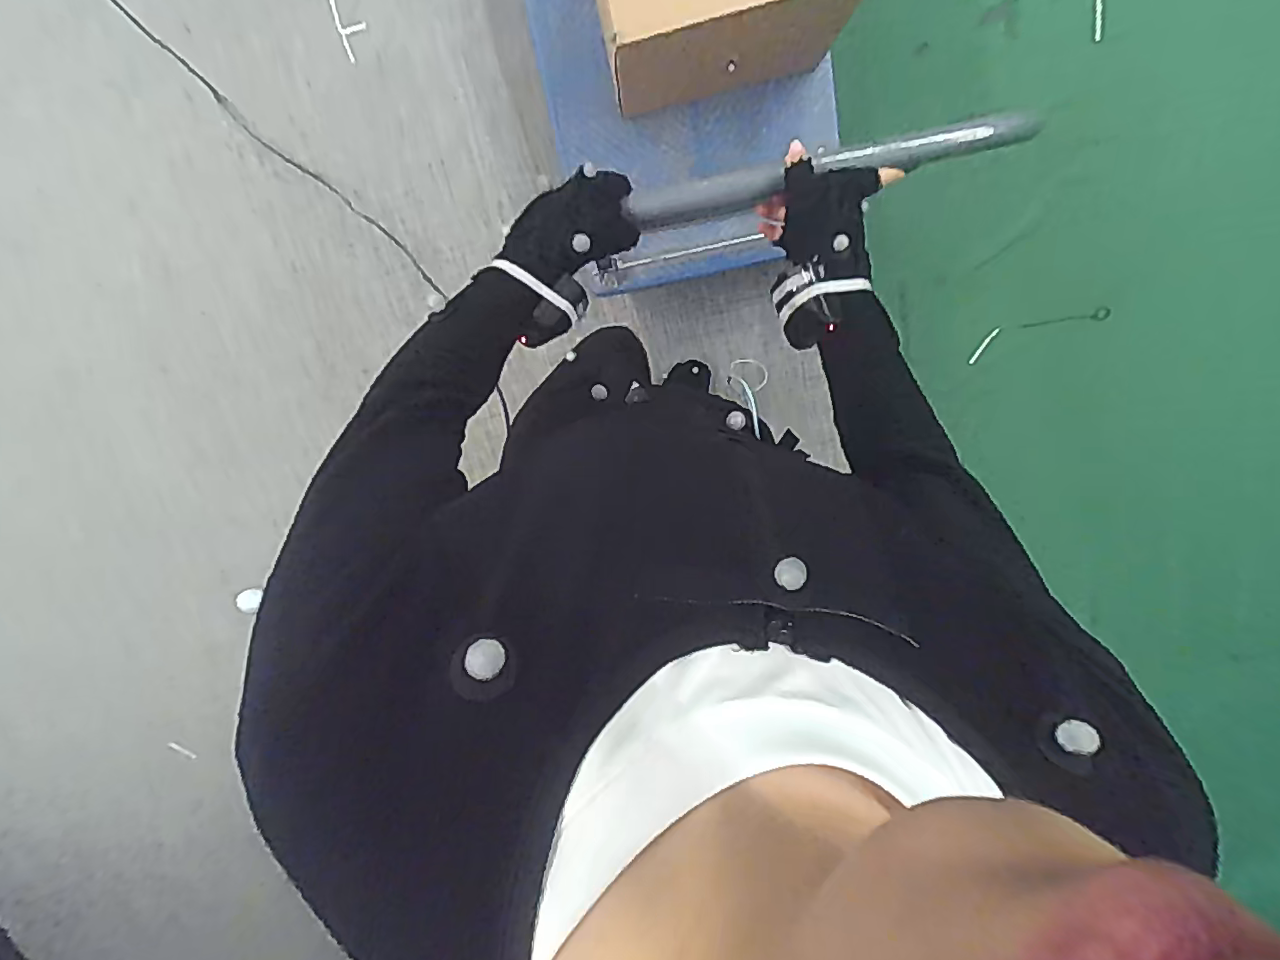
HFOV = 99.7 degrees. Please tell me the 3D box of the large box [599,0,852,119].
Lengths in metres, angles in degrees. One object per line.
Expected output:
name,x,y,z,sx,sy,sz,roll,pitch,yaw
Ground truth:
large box,0.124,-0.893,0.926,0.408,0.320,0.320,-14,105,6
